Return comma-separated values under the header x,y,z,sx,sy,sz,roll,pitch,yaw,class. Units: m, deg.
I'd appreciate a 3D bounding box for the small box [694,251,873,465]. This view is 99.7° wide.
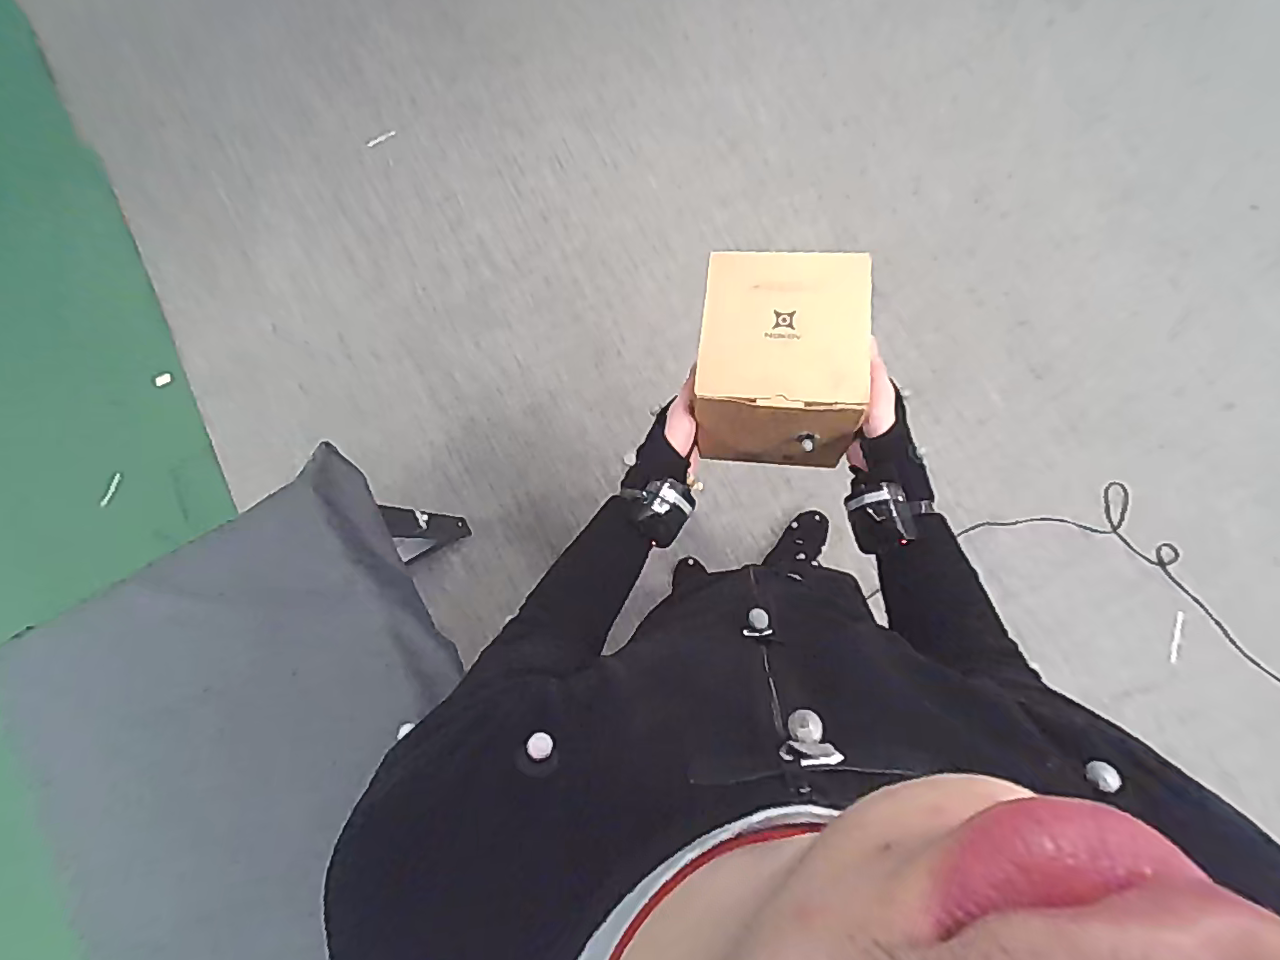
x,y,z,sx,sy,sz,roll,pitch,yaw,class
0.154,-0.128,0.610,0.168,0.176,0.179,6,70,9,small box
